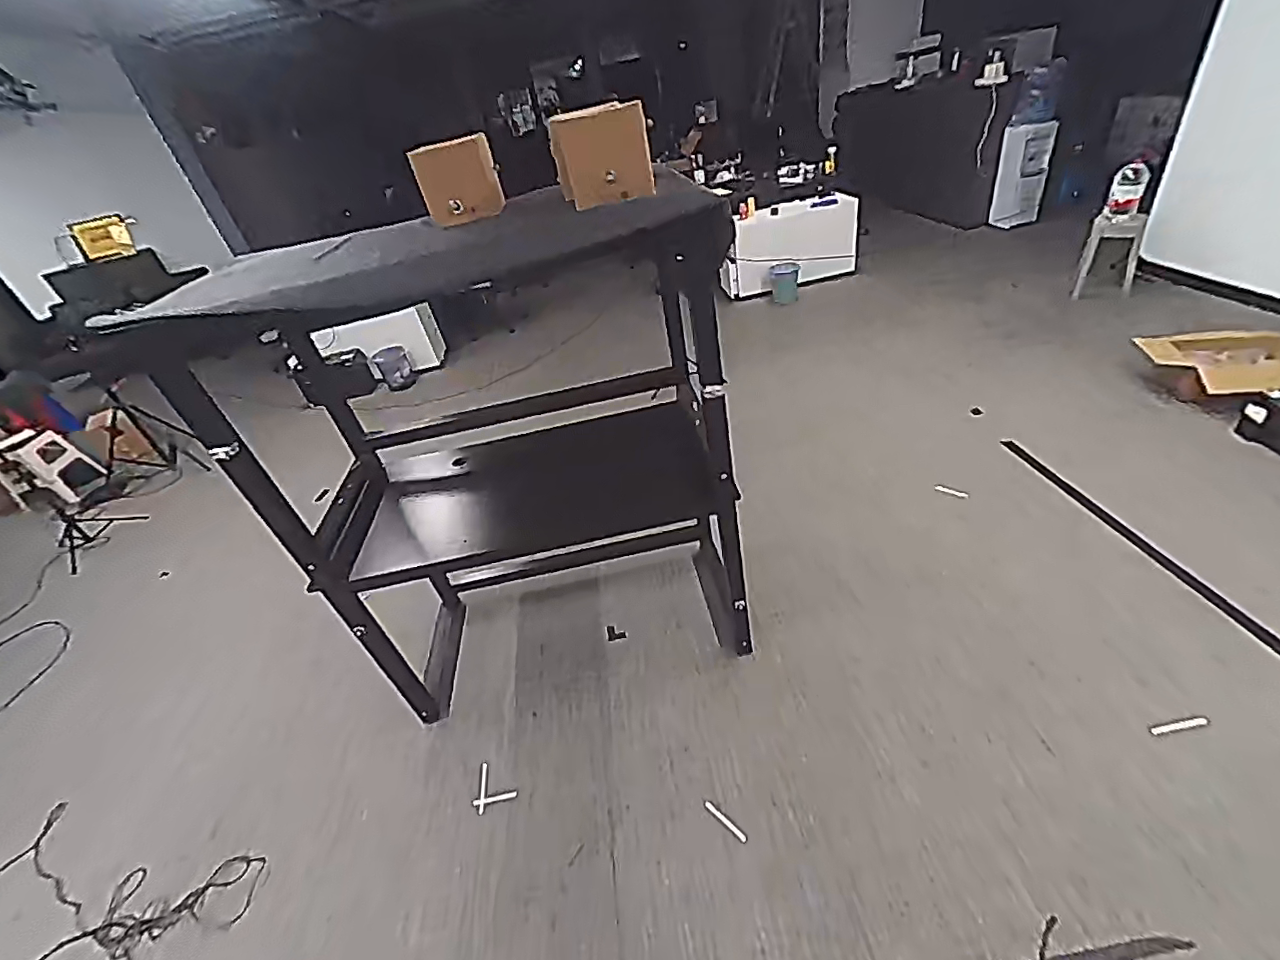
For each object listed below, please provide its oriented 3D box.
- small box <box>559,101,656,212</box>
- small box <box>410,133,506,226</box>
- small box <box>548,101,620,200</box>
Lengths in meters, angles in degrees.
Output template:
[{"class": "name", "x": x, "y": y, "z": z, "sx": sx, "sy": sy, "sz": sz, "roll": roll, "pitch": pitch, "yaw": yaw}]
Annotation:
[{"class": "small box", "x": -0.060, "y": -0.678, "z": 1.137, "sx": 0.168, "sy": 0.176, "sz": 0.179, "roll": -9, "pitch": 36, "yaw": 7}, {"class": "small box", "x": -0.444, "y": -0.749, "z": 1.351, "sx": 0.168, "sy": 0.176, "sz": 0.179, "roll": -13, "pitch": 36, "yaw": 1}, {"class": "small box", "x": -0.112, "y": -0.793, "z": 1.308, "sx": 0.168, "sy": 0.176, "sz": 0.179, "roll": -9, "pitch": 38, "yaw": 5}]
